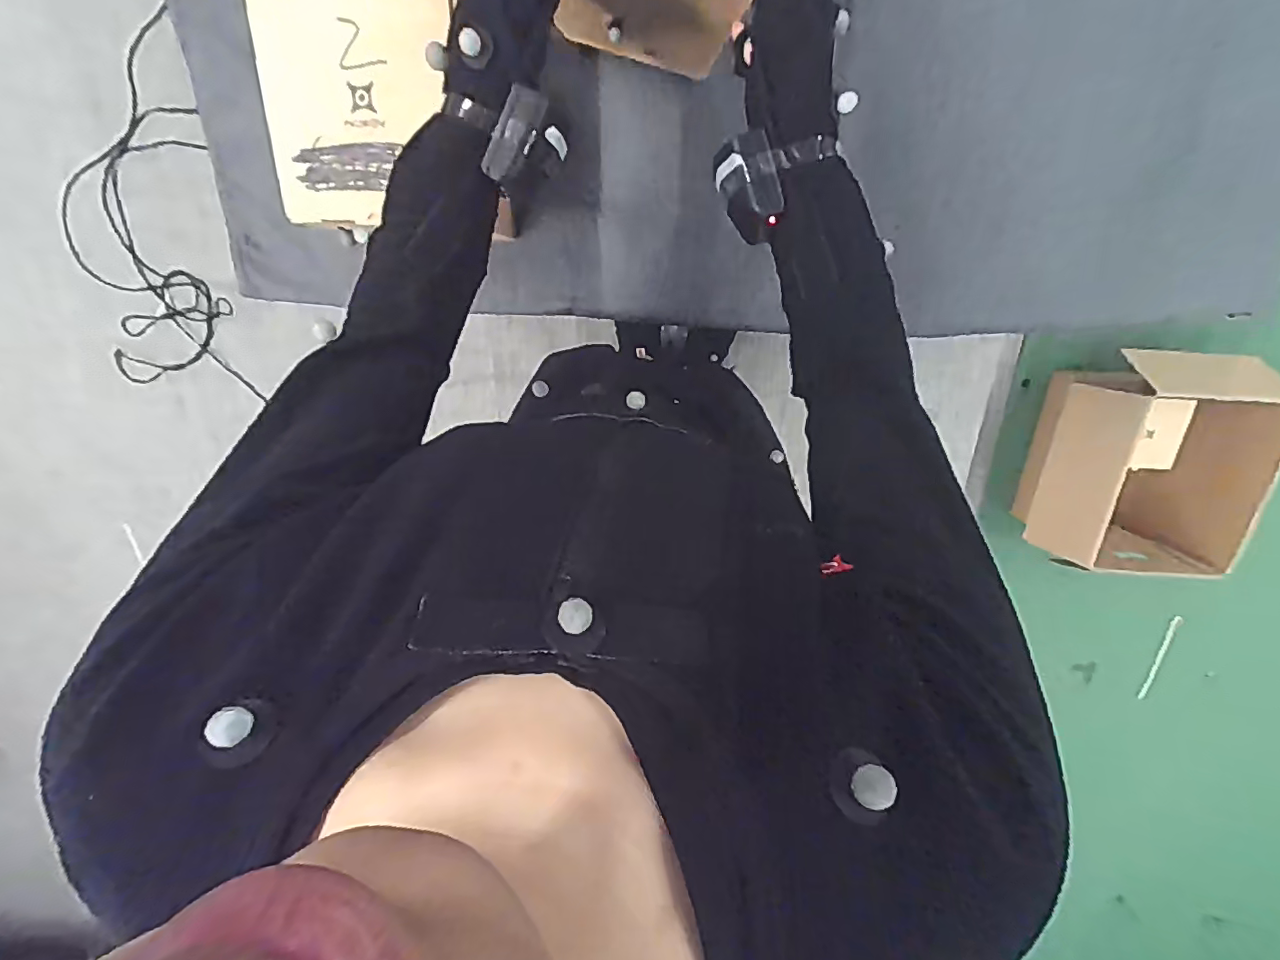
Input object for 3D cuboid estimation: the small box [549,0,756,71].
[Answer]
[{"bbox_3d":[0.016,-0.480,0.438,0.168,0.176,0.179,9,110,-12],"label":"small box"}]
